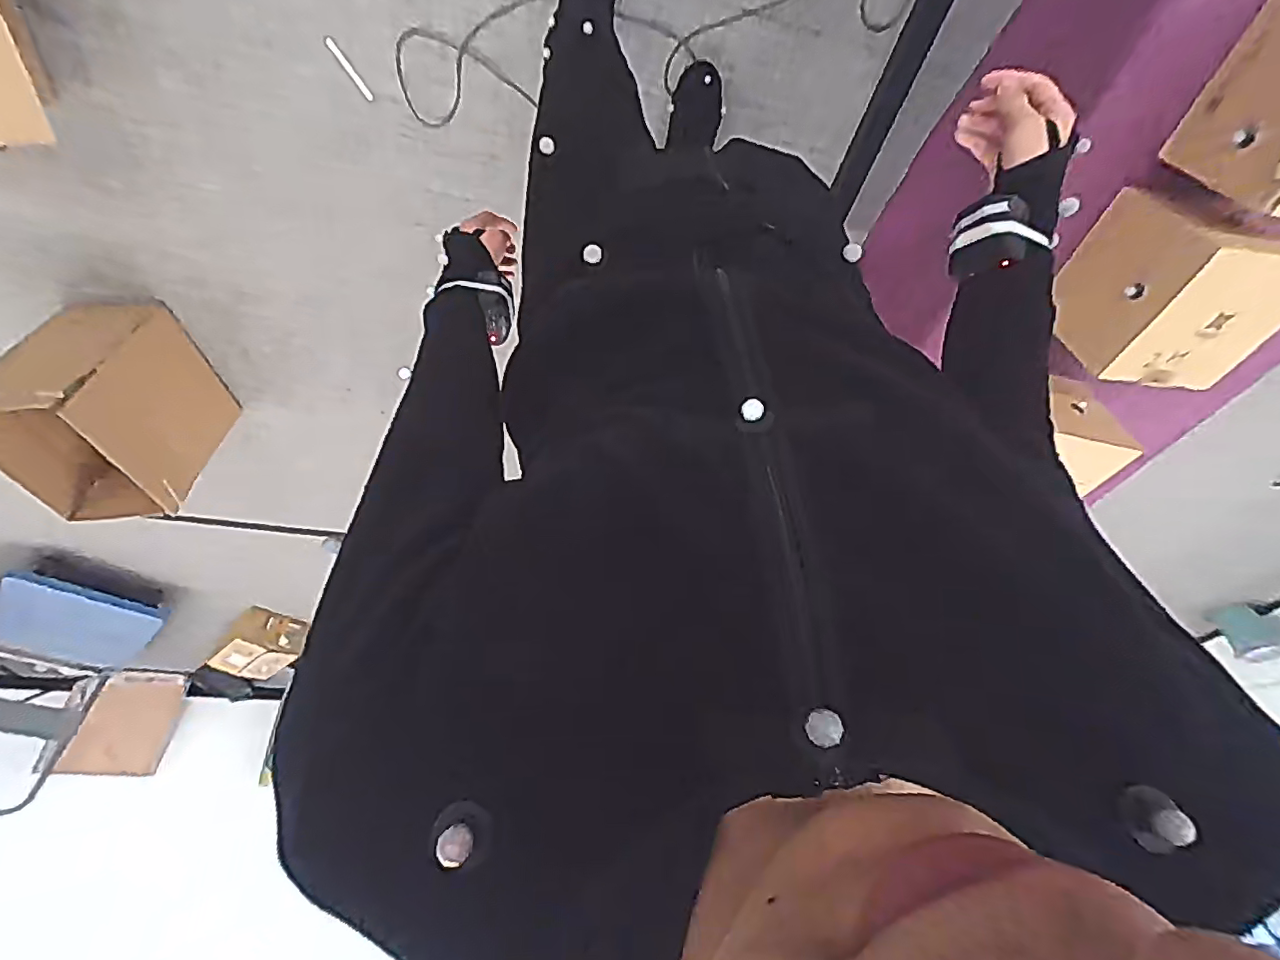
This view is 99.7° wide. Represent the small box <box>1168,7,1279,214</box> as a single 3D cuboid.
[{"bbox_3d":[0.712,-0.376,0.540,0.179,0.176,0.168,2,139,-5],"label":"small box"}]

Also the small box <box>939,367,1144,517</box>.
[{"bbox_3d":[0.639,-0.064,0.889,0.179,0.176,0.168,9,138,-14],"label":"small box"}]
